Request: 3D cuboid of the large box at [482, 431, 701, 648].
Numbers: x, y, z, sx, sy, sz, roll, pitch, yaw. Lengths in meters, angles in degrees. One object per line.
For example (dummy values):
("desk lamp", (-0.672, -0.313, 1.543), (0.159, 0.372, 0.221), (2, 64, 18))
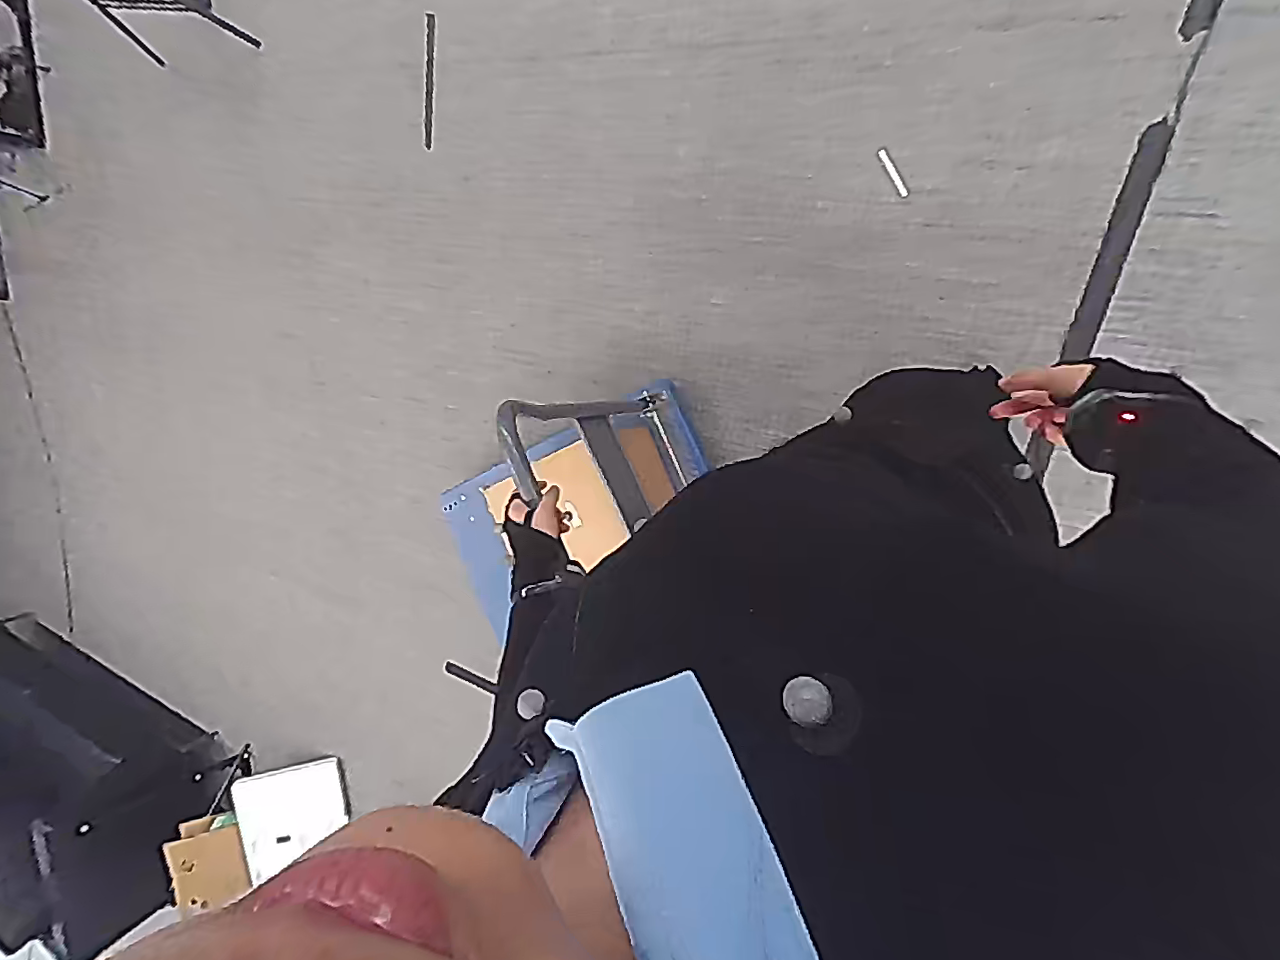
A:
("large box", (-0.103, 0.131, 1.314), (0.320, 0.320, 0.408), (-23, 89, 26))
